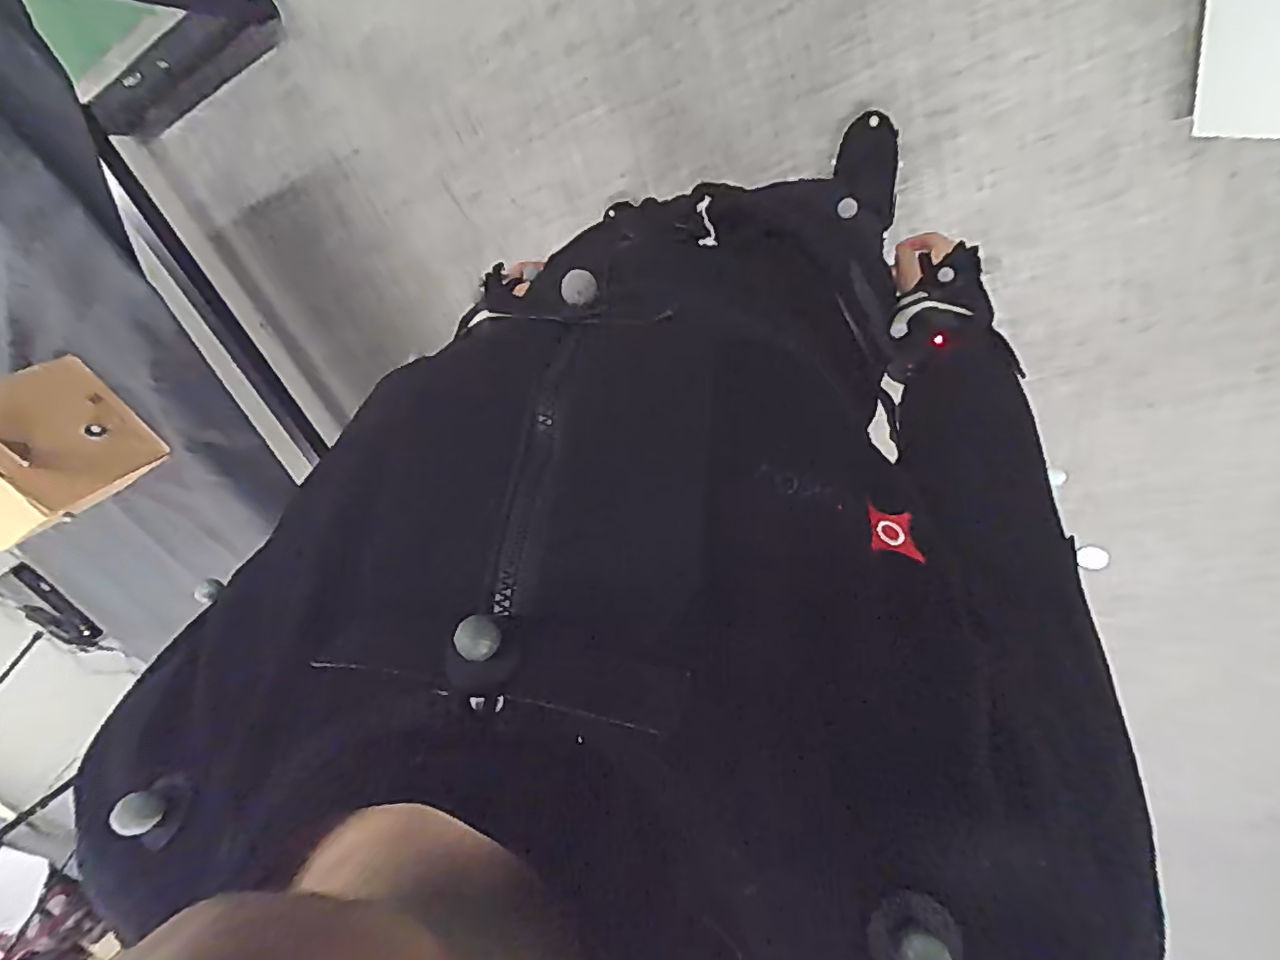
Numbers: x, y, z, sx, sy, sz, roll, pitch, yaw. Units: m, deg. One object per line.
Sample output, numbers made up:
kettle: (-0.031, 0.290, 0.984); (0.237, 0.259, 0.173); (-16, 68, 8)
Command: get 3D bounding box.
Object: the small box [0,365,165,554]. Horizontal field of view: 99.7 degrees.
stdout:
small box: (-0.816, -0.030, 0.738); (0.179, 0.176, 0.168); (-21, 115, 26)
